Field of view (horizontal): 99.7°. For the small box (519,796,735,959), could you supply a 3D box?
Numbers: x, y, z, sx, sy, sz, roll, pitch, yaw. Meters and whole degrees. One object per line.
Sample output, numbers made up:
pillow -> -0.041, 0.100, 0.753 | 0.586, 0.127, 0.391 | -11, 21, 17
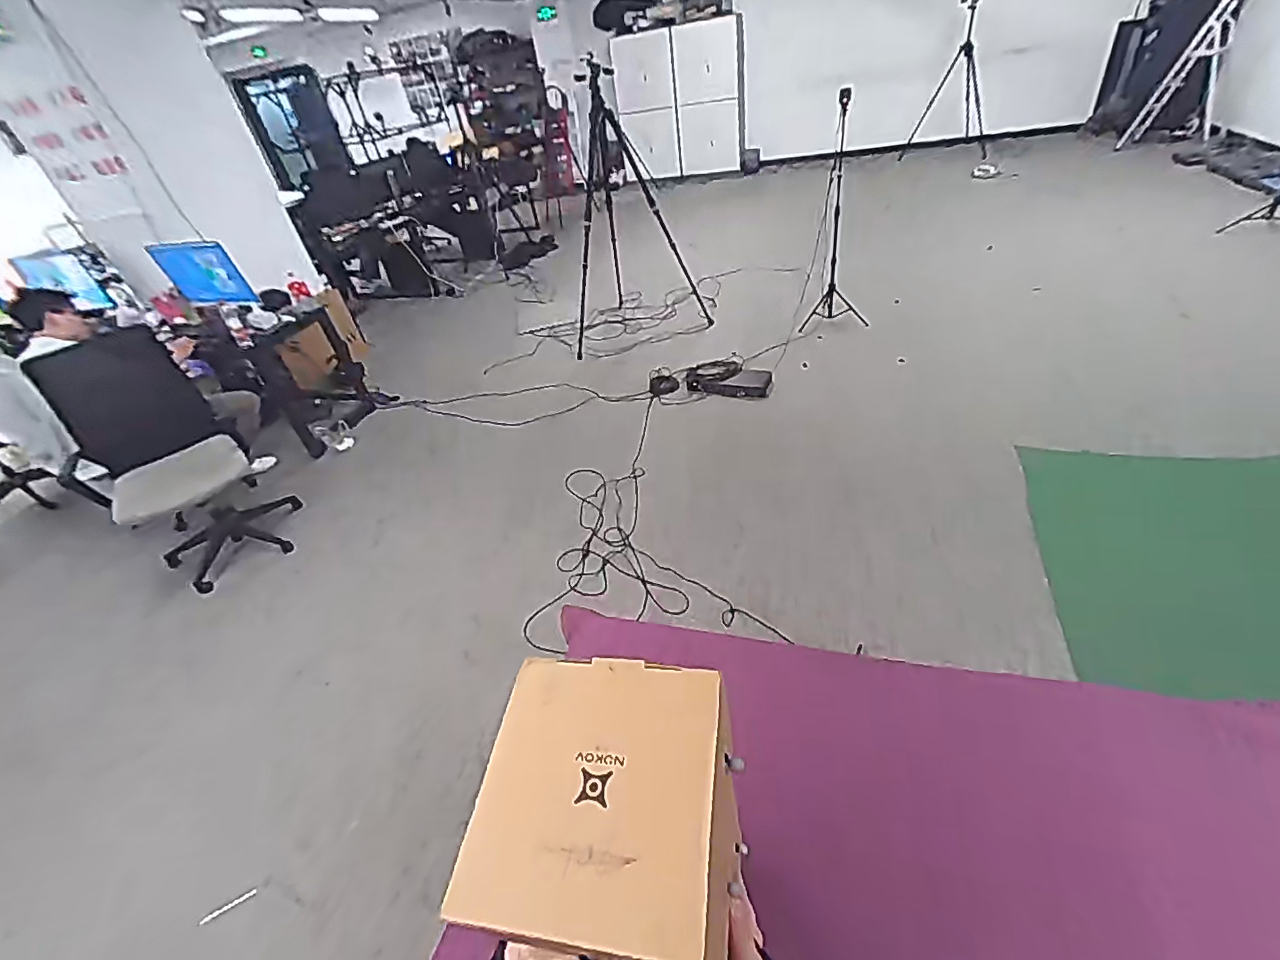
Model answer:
small box -> 0.006, 0.377, 0.537 | 0.168, 0.176, 0.179 | 0, 44, 13

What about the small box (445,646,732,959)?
small box -> -0.017, 0.257, 0.429 | 0.168, 0.176, 0.179 | -1, 46, 14
